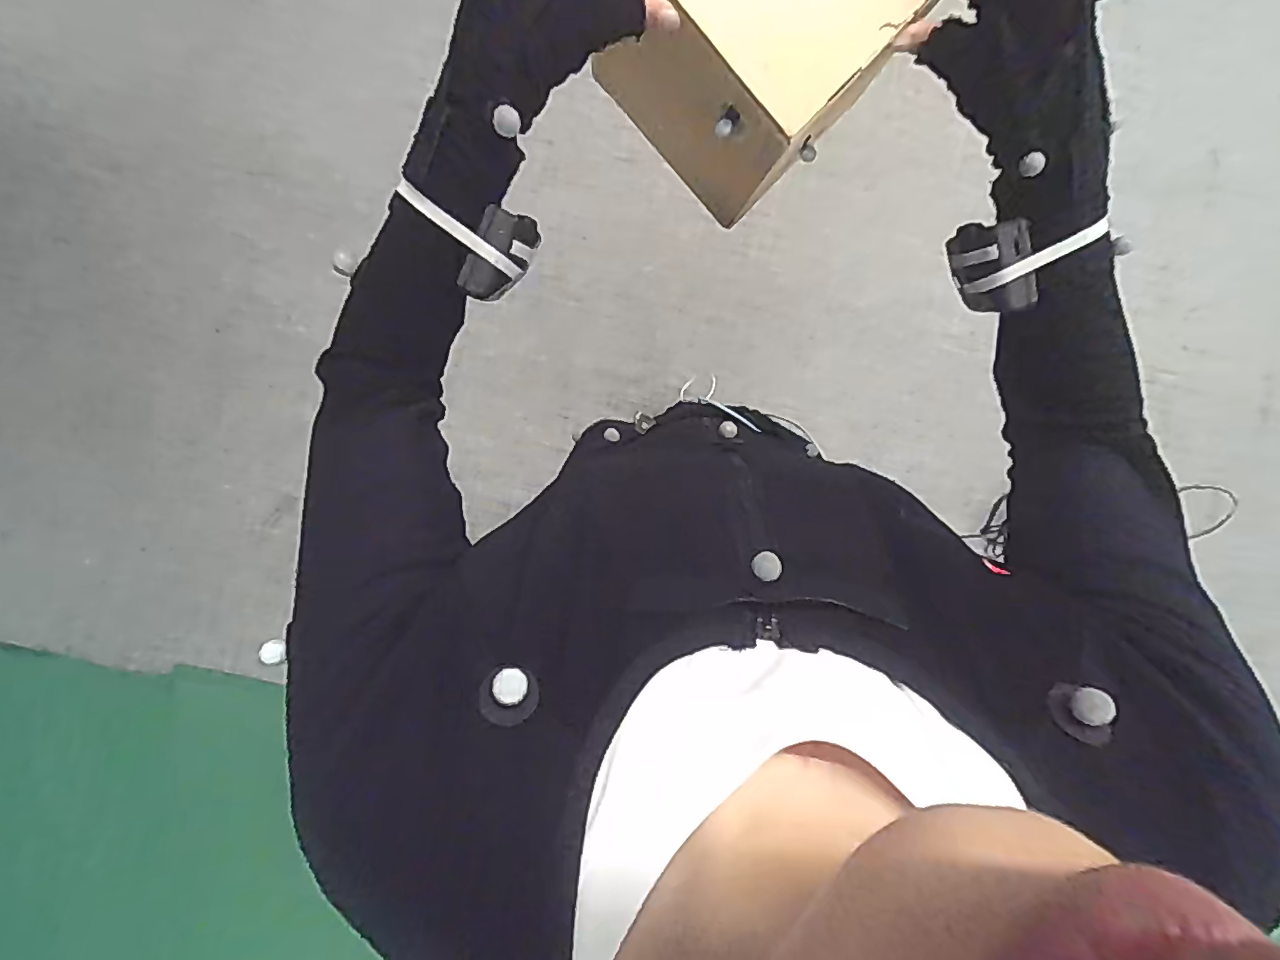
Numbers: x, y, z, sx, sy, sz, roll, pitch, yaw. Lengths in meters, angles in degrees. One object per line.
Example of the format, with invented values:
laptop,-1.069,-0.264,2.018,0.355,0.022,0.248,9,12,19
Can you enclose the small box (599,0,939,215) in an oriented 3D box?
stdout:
small box,0.082,-0.336,0.397,0.168,0.176,0.179,-45,100,3
